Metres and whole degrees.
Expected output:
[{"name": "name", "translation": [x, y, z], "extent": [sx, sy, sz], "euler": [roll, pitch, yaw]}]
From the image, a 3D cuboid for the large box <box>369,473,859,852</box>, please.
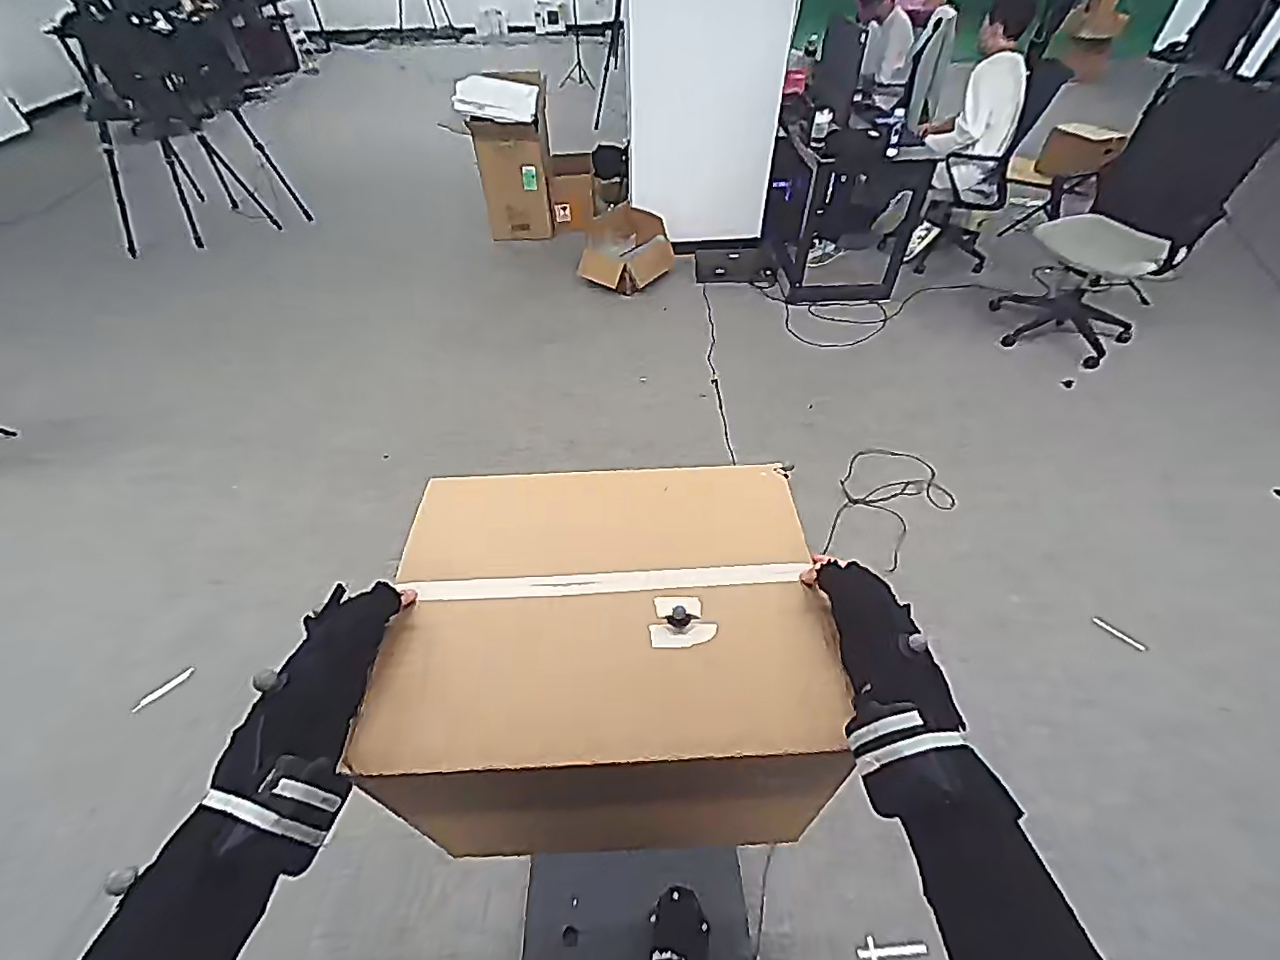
[{"name": "large box", "translation": [-0.024, 0.213, 0.639], "extent": [0.408, 0.320, 0.320], "euler": [-2, 45, -1]}]
